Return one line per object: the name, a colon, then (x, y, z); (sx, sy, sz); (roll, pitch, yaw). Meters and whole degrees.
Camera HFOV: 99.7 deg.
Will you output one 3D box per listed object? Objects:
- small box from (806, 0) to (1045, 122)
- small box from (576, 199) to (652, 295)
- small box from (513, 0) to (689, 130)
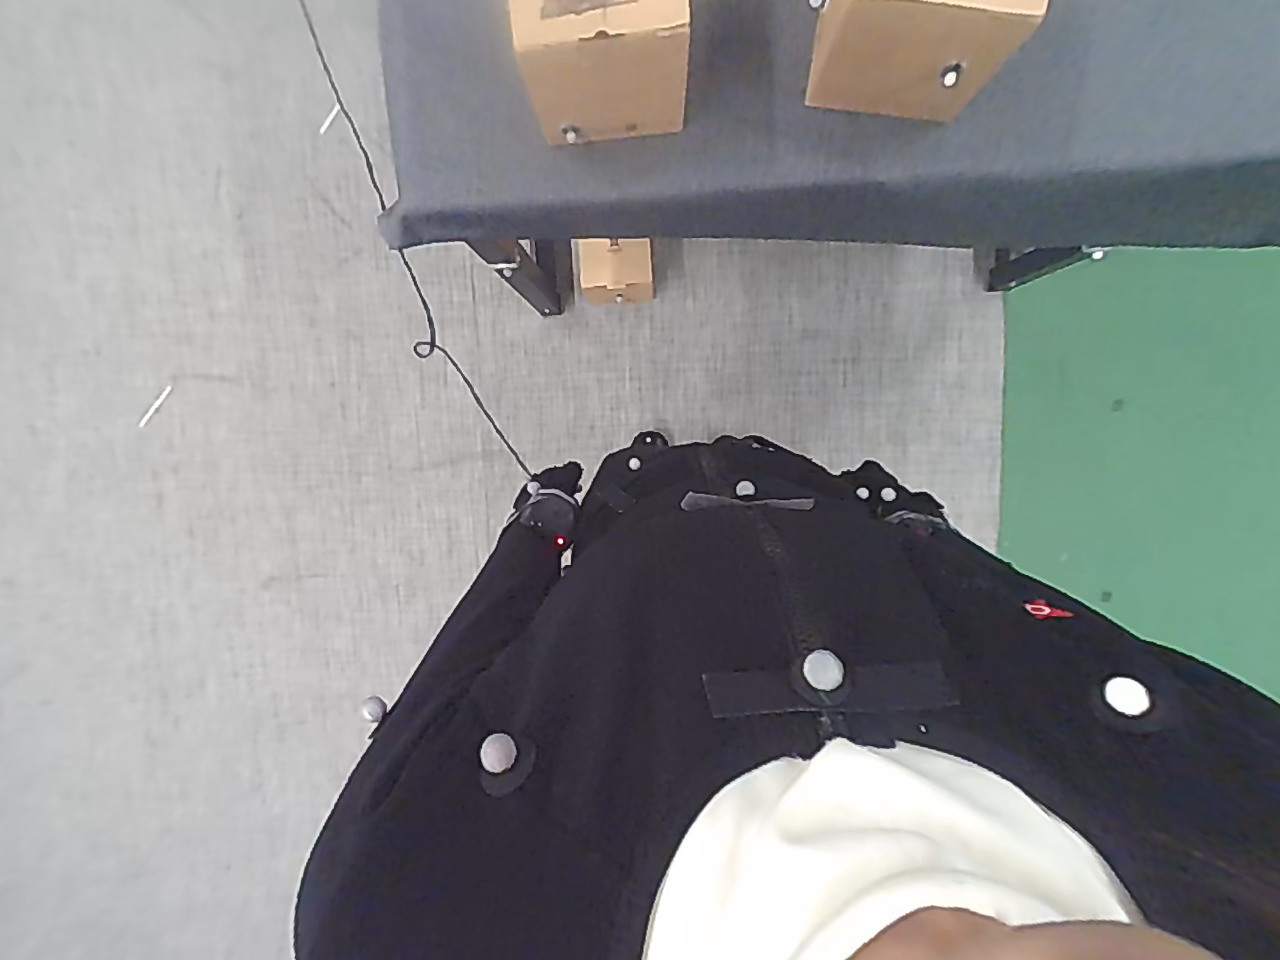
small box: (0.293, -0.511, 0.566); (0.179, 0.176, 0.168); (8, 95, 2)
small box: (-0.057, -0.552, 1.303); (0.168, 0.176, 0.179); (-2, 96, 2)
small box: (-0.037, -0.501, 0.572); (0.168, 0.176, 0.179); (-4, 94, 1)
